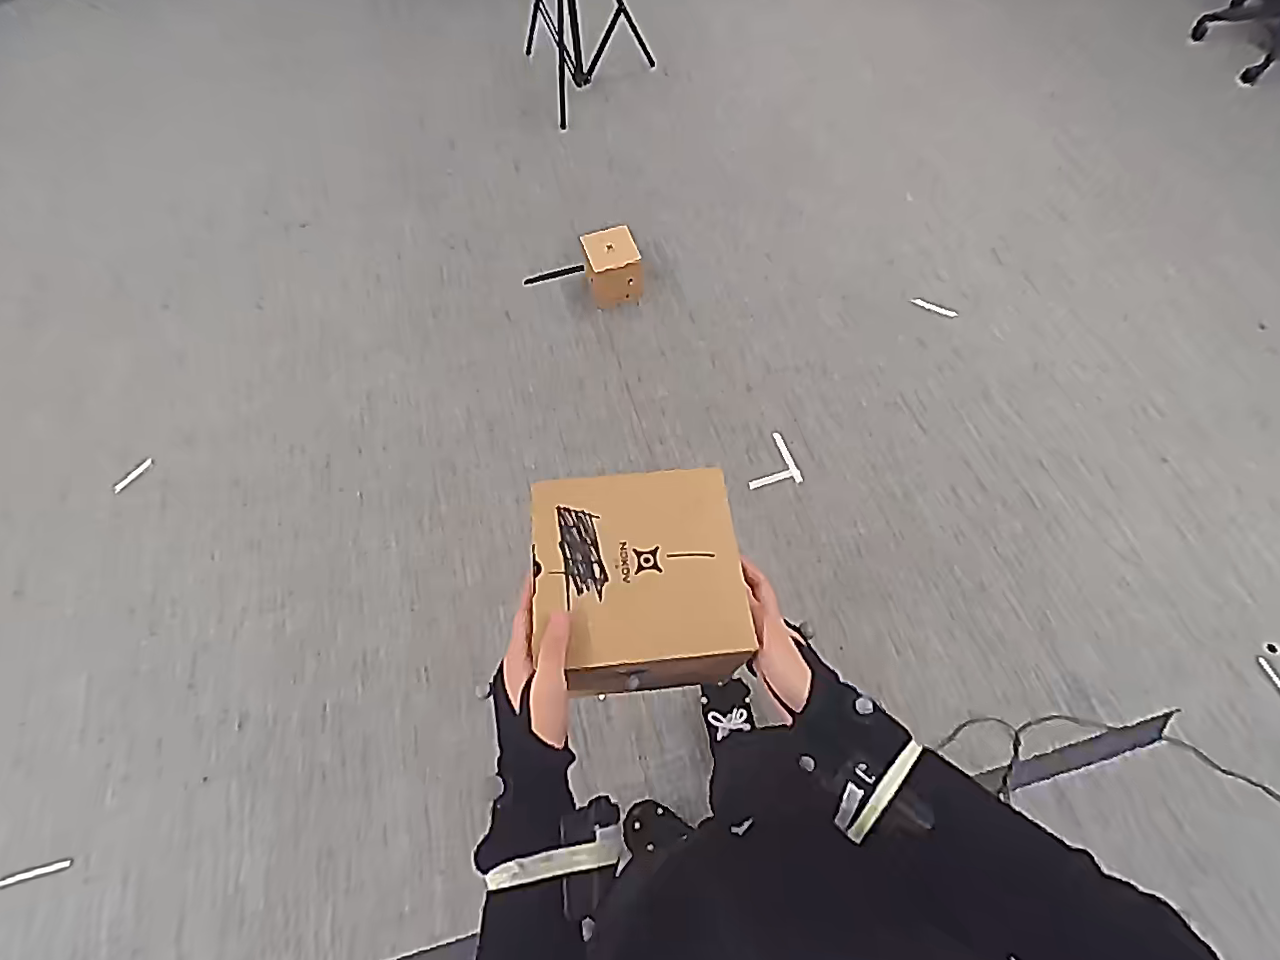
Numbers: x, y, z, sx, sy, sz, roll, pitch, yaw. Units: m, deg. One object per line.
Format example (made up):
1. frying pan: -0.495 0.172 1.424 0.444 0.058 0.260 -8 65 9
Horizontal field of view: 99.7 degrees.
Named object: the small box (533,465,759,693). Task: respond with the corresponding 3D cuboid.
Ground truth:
1. small box: -0.002 0.102 0.518 0.179 0.176 0.168 -4 62 -4
